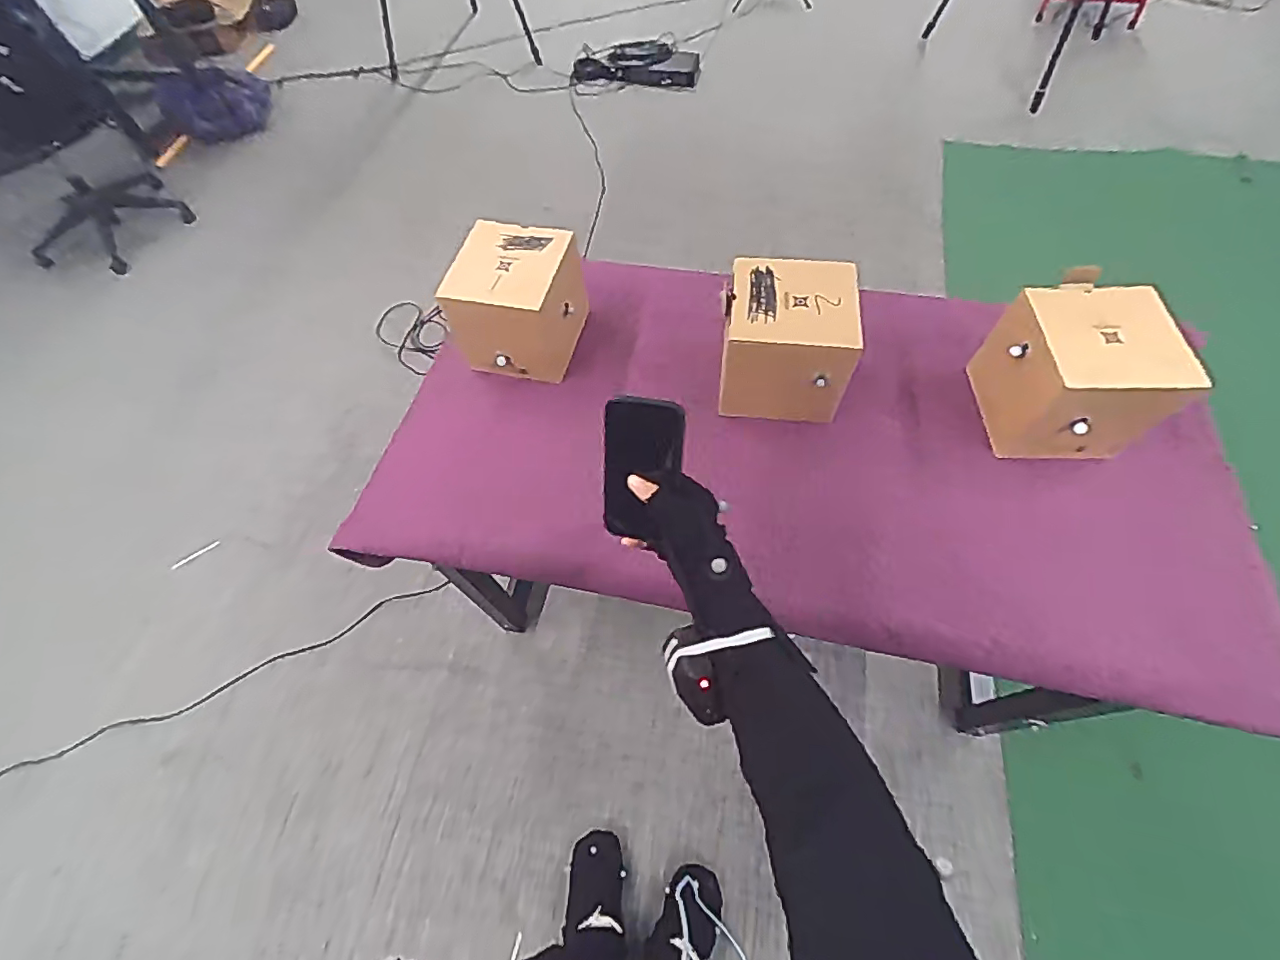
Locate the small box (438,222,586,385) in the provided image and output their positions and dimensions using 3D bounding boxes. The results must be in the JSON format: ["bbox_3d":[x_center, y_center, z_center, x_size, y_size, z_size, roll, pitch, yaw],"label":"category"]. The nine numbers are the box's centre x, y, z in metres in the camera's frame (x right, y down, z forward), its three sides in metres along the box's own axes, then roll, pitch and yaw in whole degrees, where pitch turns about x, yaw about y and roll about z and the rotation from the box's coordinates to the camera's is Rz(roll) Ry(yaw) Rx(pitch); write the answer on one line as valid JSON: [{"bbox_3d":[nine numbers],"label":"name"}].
[{"bbox_3d":[-0.192,-0.284,0.881,0.168,0.176,0.179,11,63,9],"label":"small box"}]

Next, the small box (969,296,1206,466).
[{"bbox_3d":[0.597,-0.131,0.753,0.168,0.176,0.179,1,60,4],"label":"small box"}]
